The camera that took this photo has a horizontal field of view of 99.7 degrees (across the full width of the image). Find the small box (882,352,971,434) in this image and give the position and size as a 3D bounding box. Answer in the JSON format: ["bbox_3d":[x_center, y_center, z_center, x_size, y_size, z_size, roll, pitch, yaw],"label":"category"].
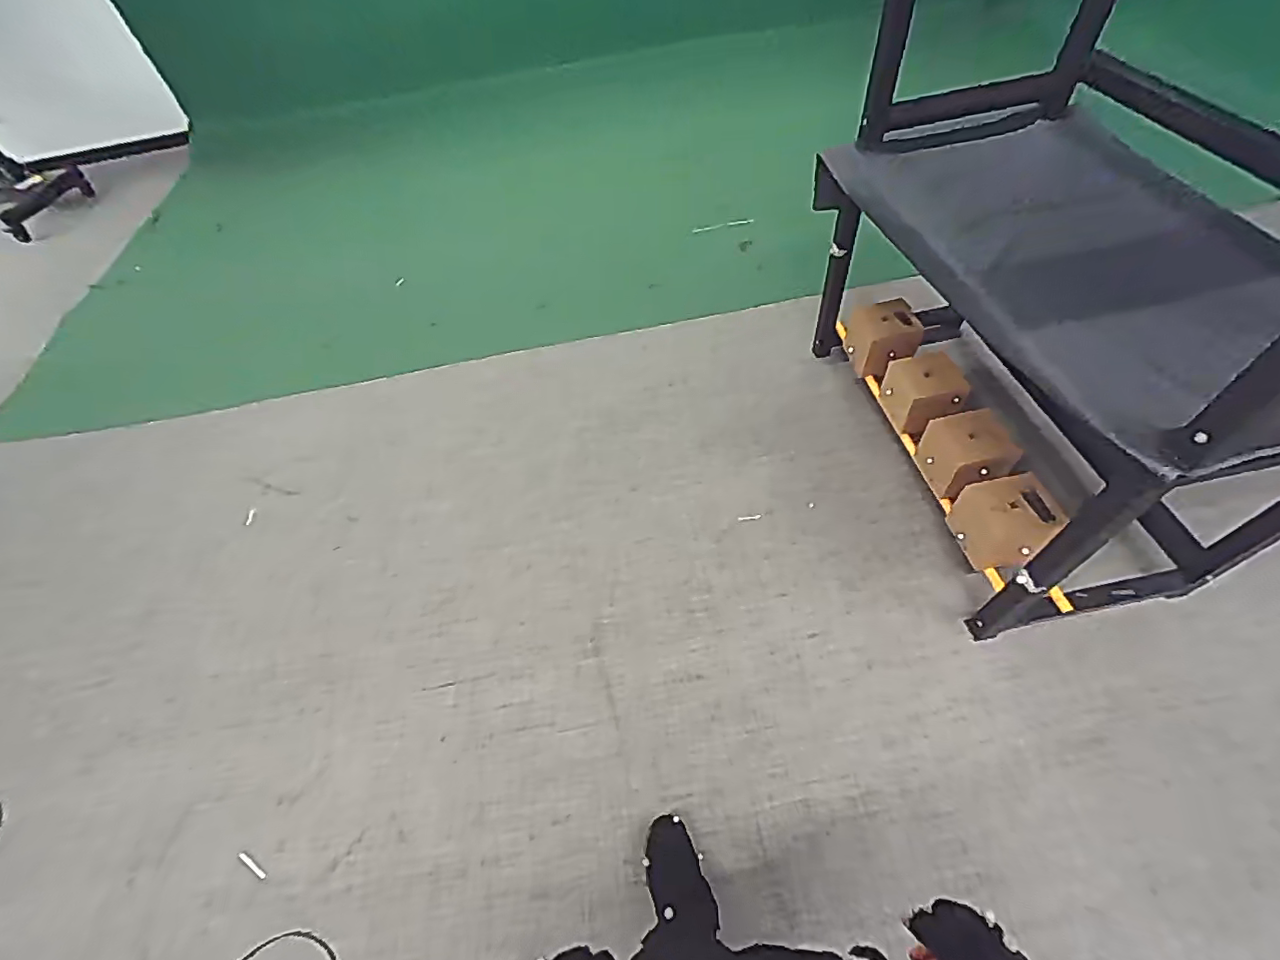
[{"bbox_3d":[0.867,-0.262,1.662,0.179,0.176,0.168,-11,54,1],"label":"small box"}]

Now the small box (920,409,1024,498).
[{"bbox_3d":[0.913,-0.070,1.515,0.179,0.176,0.168,-12,55,0],"label":"small box"}]
